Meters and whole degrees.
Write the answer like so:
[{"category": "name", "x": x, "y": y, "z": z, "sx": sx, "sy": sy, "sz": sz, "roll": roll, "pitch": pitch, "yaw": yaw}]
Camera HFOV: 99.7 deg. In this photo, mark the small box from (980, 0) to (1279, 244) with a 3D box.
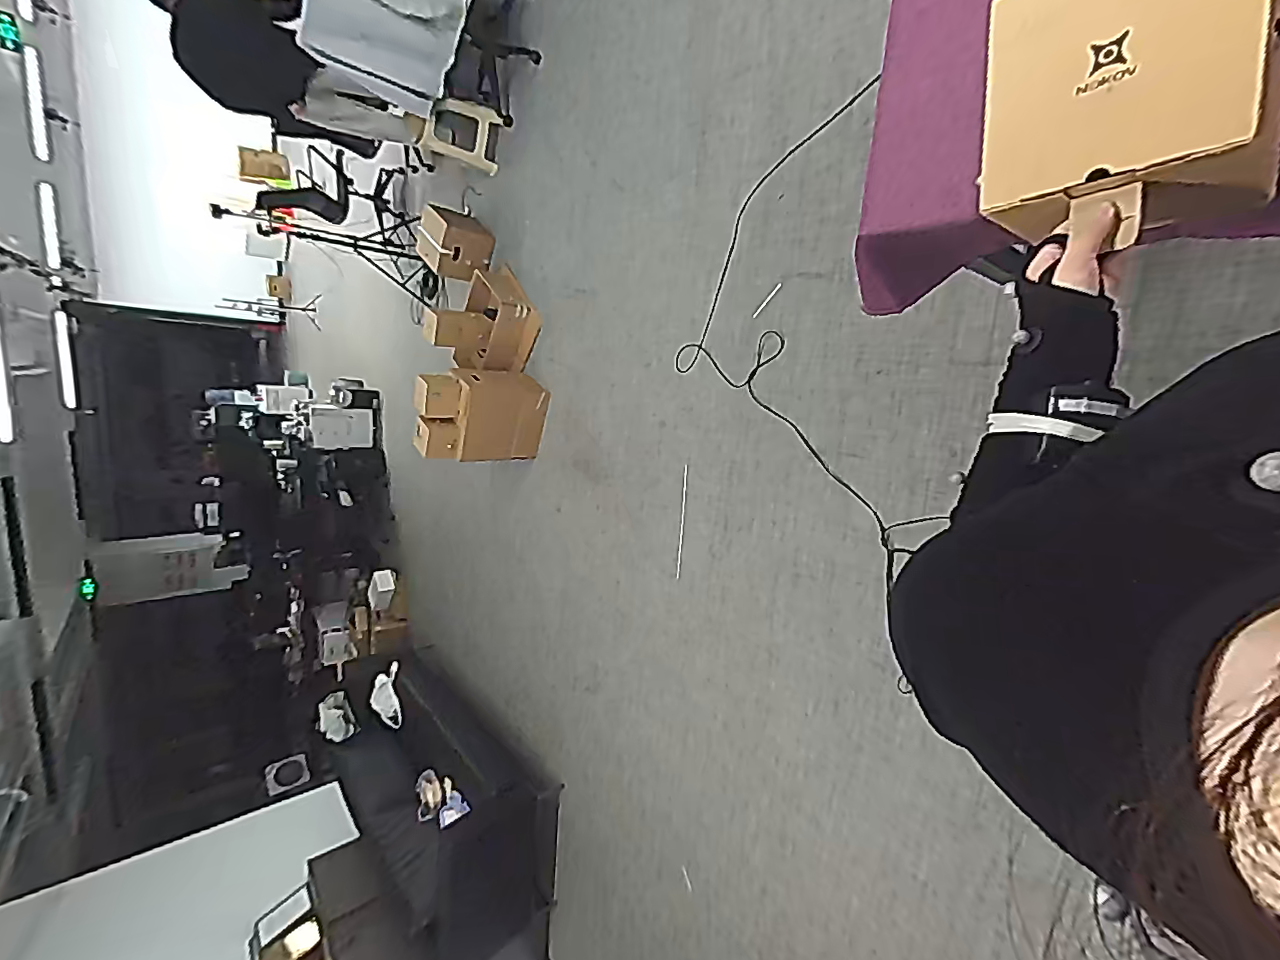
[{"category": "small box", "x": 0.426, "y": -0.329, "z": 0.475, "sx": 0.168, "sy": 0.176, "sz": 0.179, "roll": 8, "pitch": 101, "yaw": 51}]
